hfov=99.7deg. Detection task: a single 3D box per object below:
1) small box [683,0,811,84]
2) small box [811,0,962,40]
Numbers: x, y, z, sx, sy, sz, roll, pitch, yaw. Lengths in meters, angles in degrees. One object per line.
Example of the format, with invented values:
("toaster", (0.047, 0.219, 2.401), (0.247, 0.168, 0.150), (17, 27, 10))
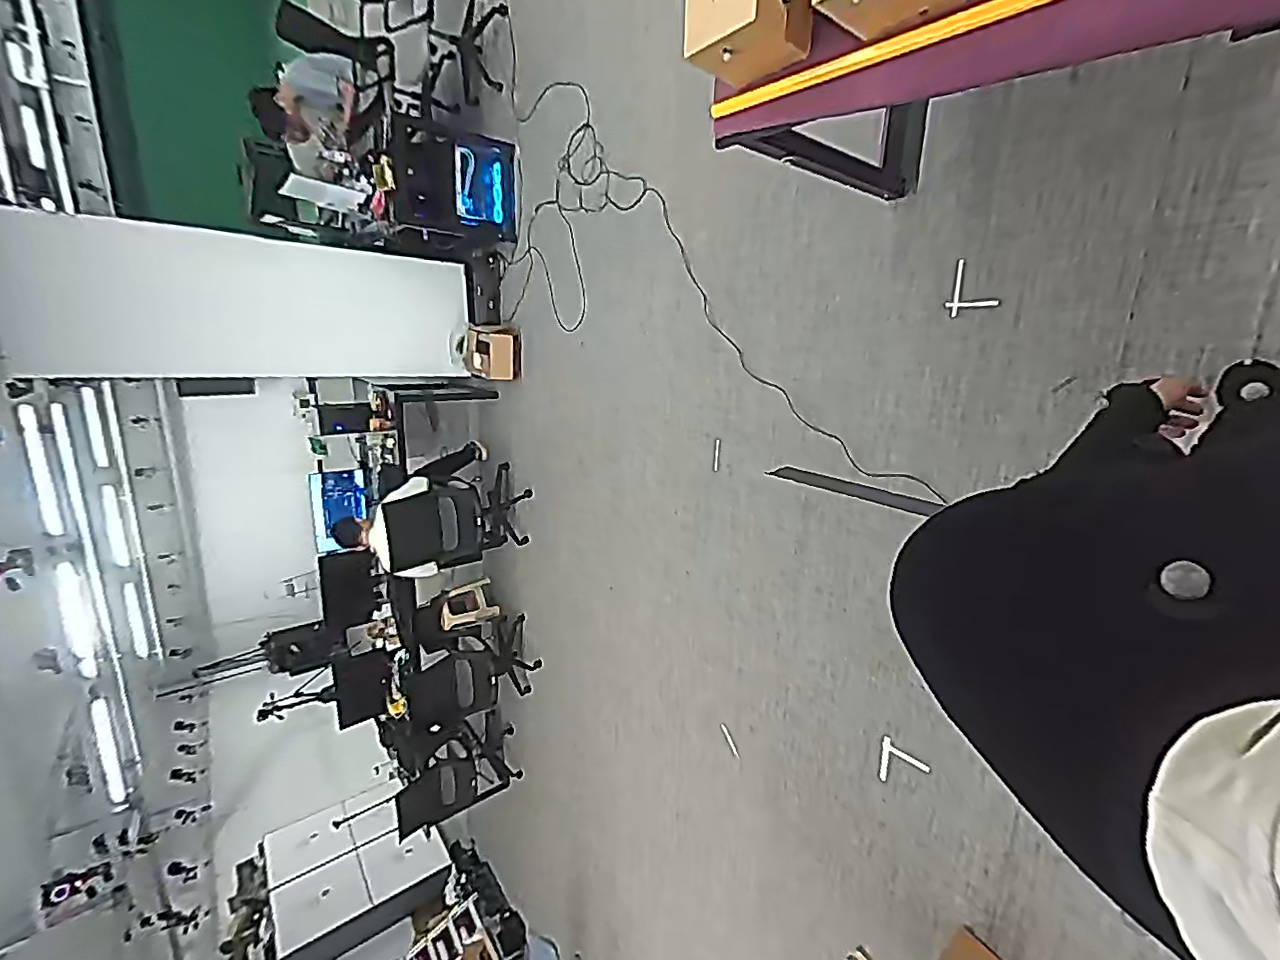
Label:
("small box", (0.200, -0.869, 0.992), (0.179, 0.176, 0.168), (17, 110, 49))
("small box", (0.372, -0.794, 0.782), (0.168, 0.176, 0.179), (20, 113, 51))
